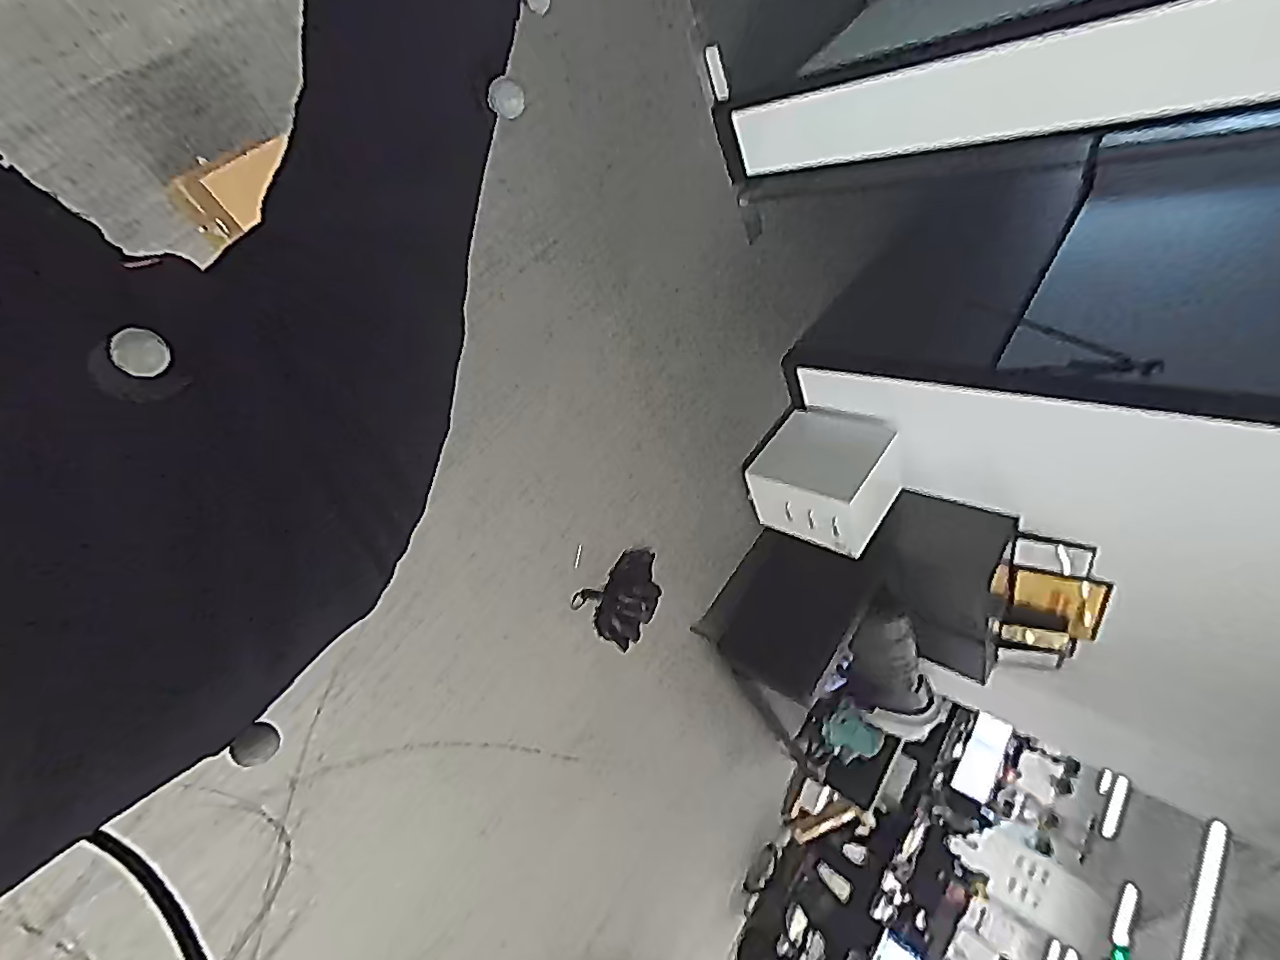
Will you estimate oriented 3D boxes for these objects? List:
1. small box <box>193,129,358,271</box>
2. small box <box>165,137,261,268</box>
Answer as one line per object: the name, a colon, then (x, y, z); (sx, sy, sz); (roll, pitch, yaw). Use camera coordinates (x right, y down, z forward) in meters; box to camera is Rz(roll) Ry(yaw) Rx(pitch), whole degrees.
small box: (-0.666, -0.503, 0.985); (0.179, 0.176, 0.168); (-49, 133, -22)
small box: (-0.790, -0.546, 1.079); (0.168, 0.176, 0.179); (-49, 133, -23)
